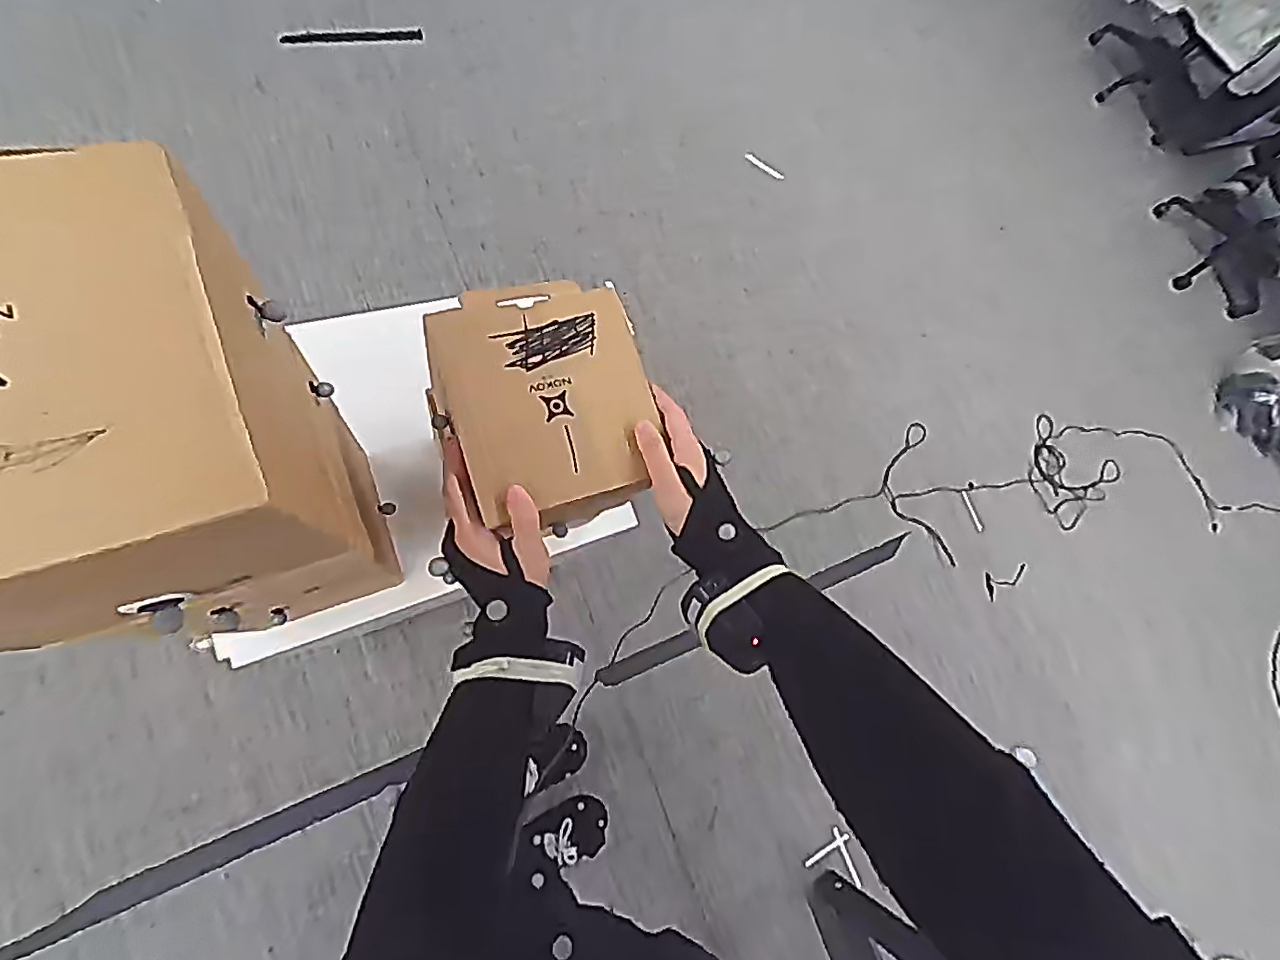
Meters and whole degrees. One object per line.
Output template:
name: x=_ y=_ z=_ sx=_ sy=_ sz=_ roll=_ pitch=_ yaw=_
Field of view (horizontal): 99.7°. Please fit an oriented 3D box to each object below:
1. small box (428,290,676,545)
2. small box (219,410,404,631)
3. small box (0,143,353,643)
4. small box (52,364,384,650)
small box: x=-0.092 y=-0.049 z=0.510 sx=0.168 sy=0.176 sz=0.179 roll=-16 pitch=83 yaw=-20
small box: x=-0.366 y=0.051 z=0.574 sx=0.168 sy=0.176 sz=0.179 roll=-18 pitch=81 yaw=-20
small box: x=-0.270 y=-0.026 z=0.274 sx=0.168 sy=0.176 sz=0.179 roll=-20 pitch=83 yaw=-20
small box: x=-0.318 y=0.014 z=0.424 sx=0.168 sy=0.176 sz=0.179 roll=-19 pitch=82 yaw=-21
